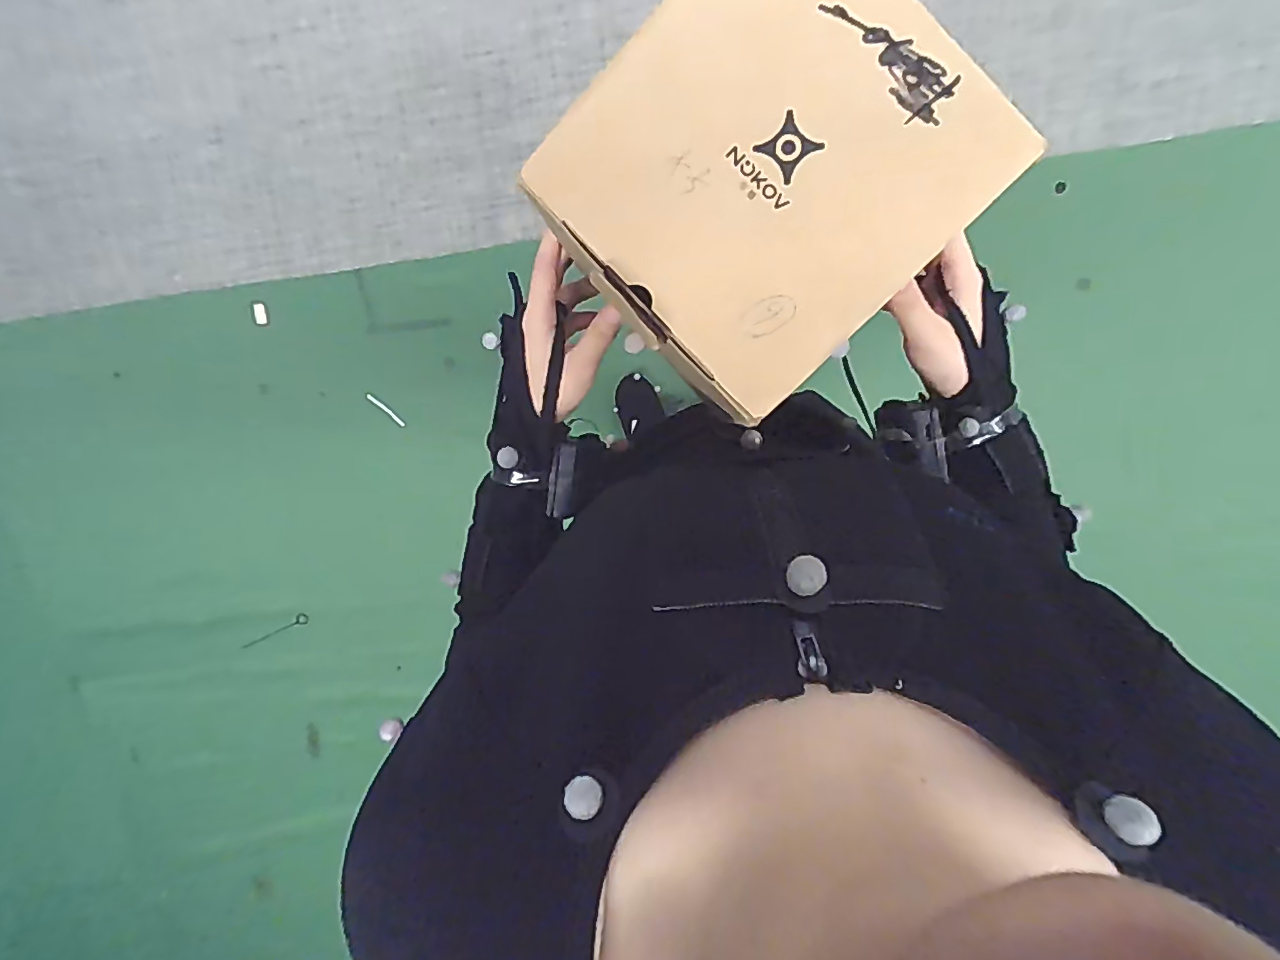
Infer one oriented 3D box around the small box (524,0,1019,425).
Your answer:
[{"bbox_3d":[0.065,-0.151,0.334,0.179,0.176,0.168,-44,92,9],"label":"small box"}]
